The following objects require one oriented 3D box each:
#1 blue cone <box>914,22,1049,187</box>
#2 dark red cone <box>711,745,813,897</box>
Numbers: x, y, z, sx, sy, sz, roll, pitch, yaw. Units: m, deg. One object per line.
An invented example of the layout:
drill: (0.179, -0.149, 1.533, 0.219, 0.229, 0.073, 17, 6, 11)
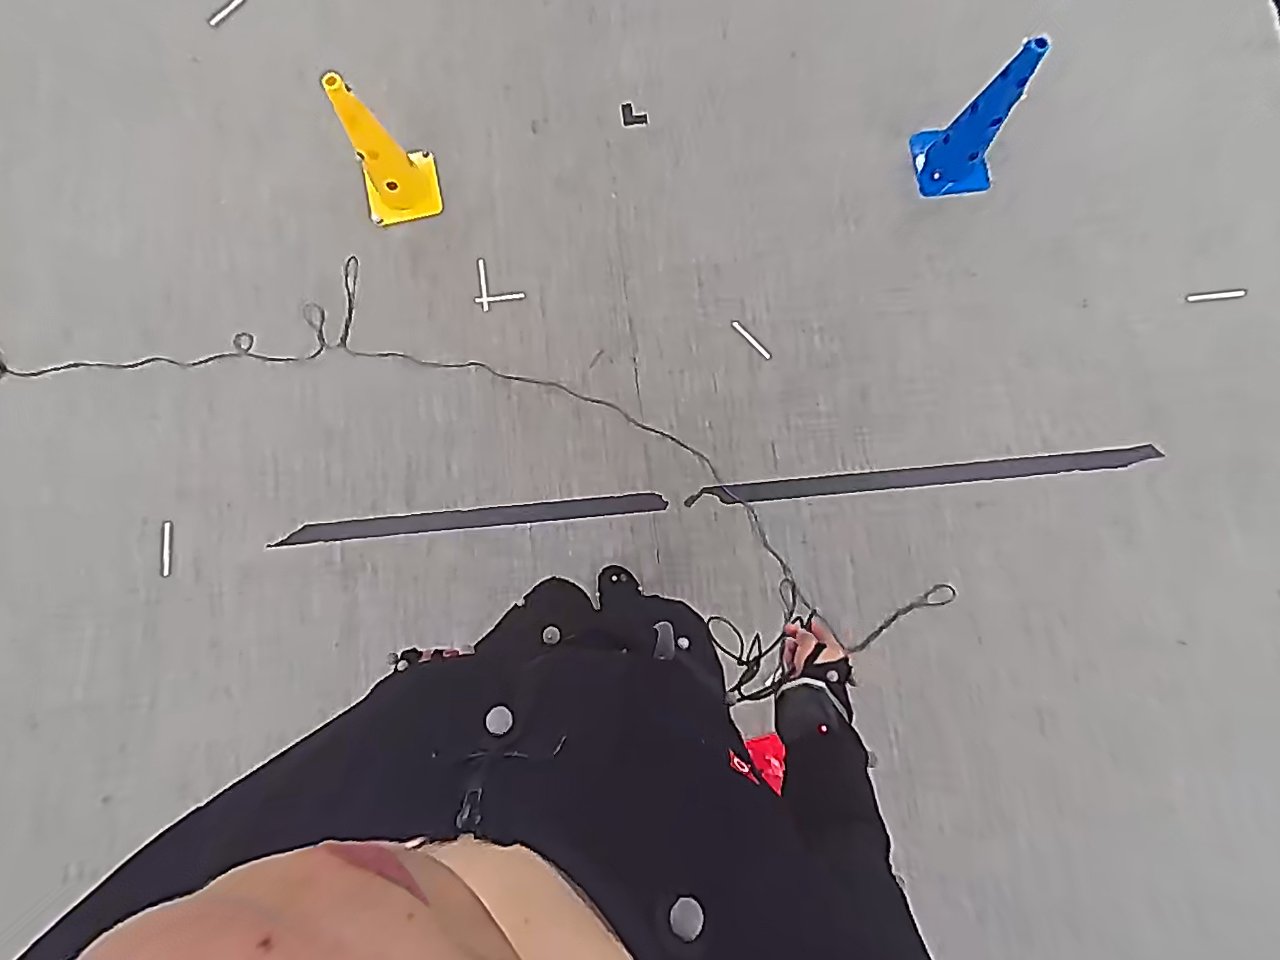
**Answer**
blue cone: (0.869, -0.931, 1.344, 0.193, 0.380, 0.192, -5, 81, 0)
dark red cone: (0.278, 0.708, 1.096, 0.202, 0.394, 0.201, -14, 81, -1)
